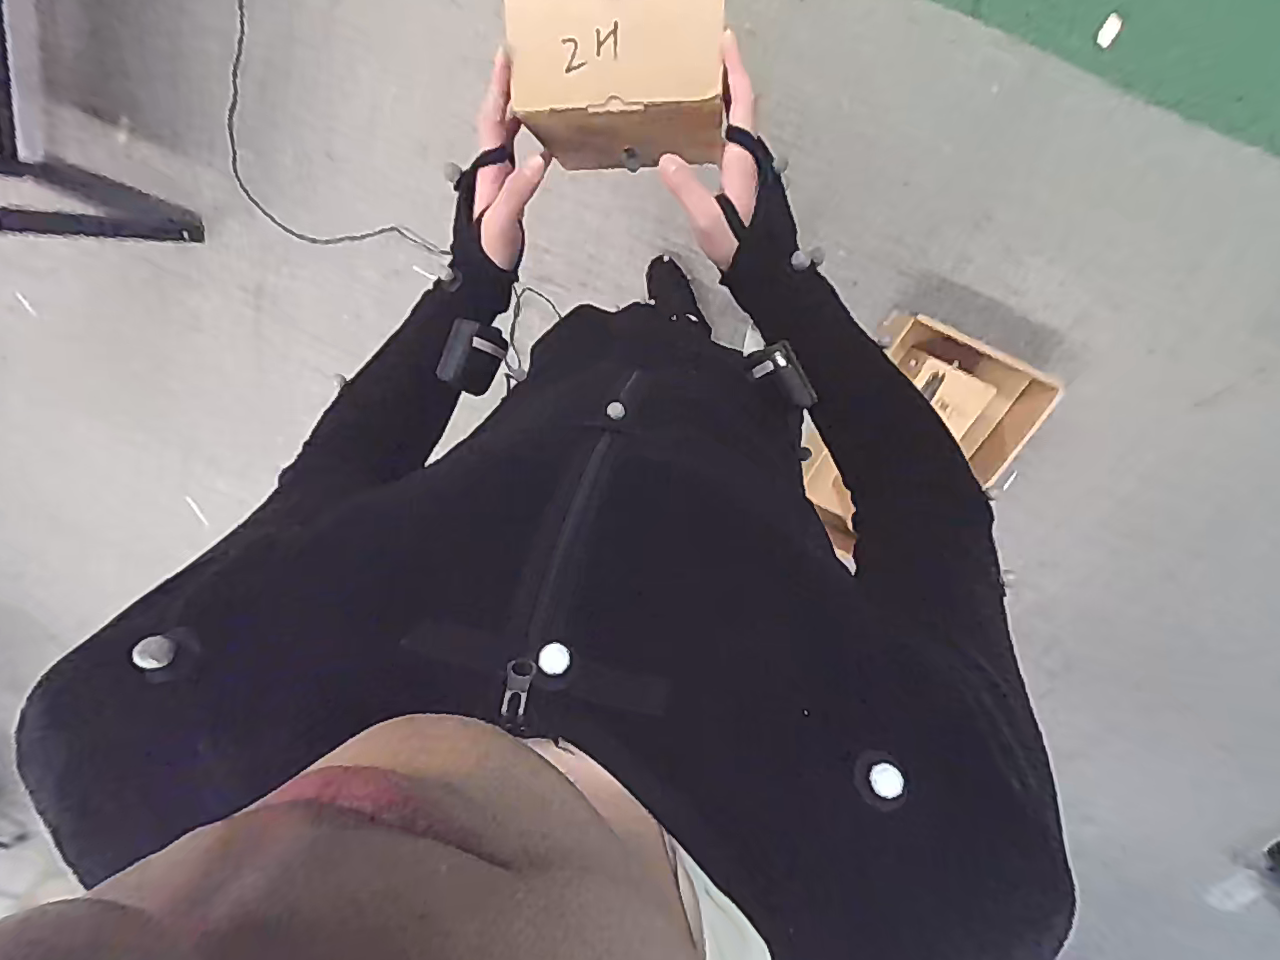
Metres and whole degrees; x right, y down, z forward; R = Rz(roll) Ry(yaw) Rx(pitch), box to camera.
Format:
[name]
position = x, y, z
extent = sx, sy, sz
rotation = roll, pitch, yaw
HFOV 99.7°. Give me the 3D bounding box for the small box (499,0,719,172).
[small box]
position = -0.016, -0.391, 0.470
extent = 0.168, 0.176, 0.179
rotation = 2, 106, 7
